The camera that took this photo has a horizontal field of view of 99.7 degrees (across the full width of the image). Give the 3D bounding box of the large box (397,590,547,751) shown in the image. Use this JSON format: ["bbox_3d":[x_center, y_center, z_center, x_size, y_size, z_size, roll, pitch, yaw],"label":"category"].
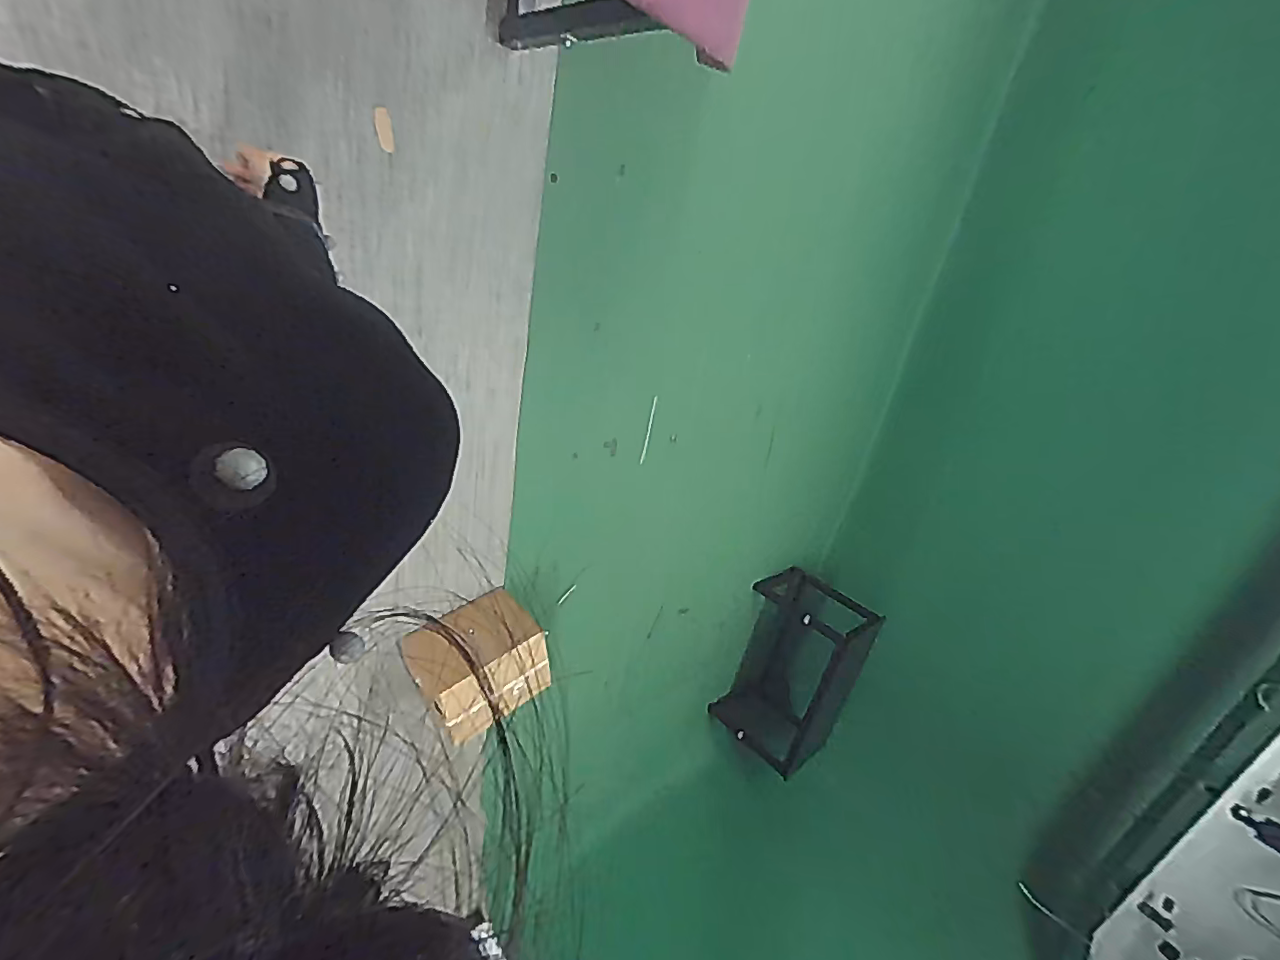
[{"bbox_3d":[-0.609,0.684,1.996,0.408,0.320,0.320,-27,133,-36],"label":"large box"}]
